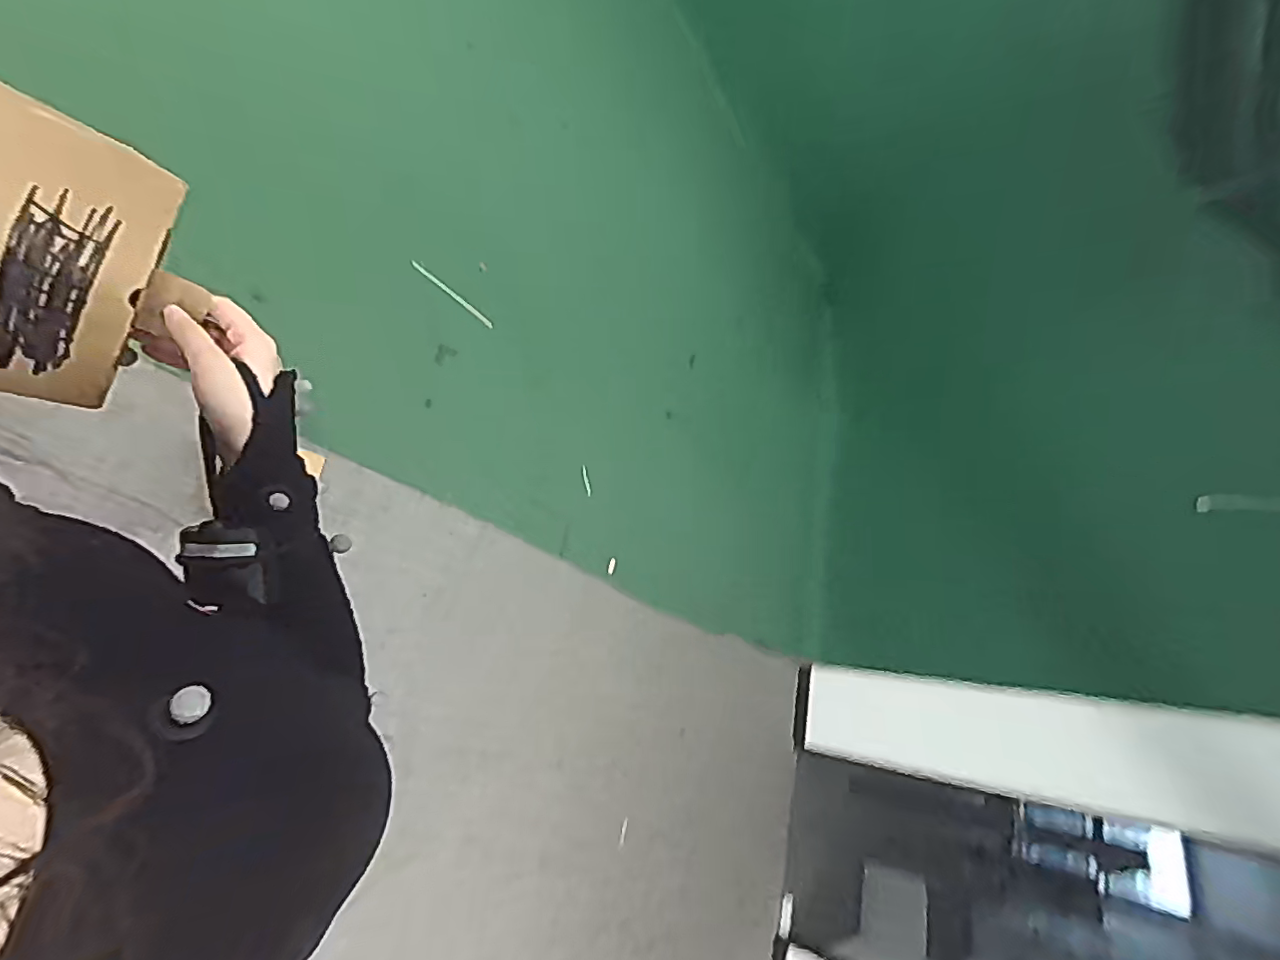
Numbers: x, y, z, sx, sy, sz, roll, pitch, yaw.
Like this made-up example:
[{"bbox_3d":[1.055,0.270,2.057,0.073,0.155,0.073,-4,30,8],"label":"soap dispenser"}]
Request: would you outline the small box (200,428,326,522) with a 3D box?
[{"bbox_3d":[-0.876,-0.001,1.253,0.179,0.176,0.168,28,65,-45],"label":"small box"}]
